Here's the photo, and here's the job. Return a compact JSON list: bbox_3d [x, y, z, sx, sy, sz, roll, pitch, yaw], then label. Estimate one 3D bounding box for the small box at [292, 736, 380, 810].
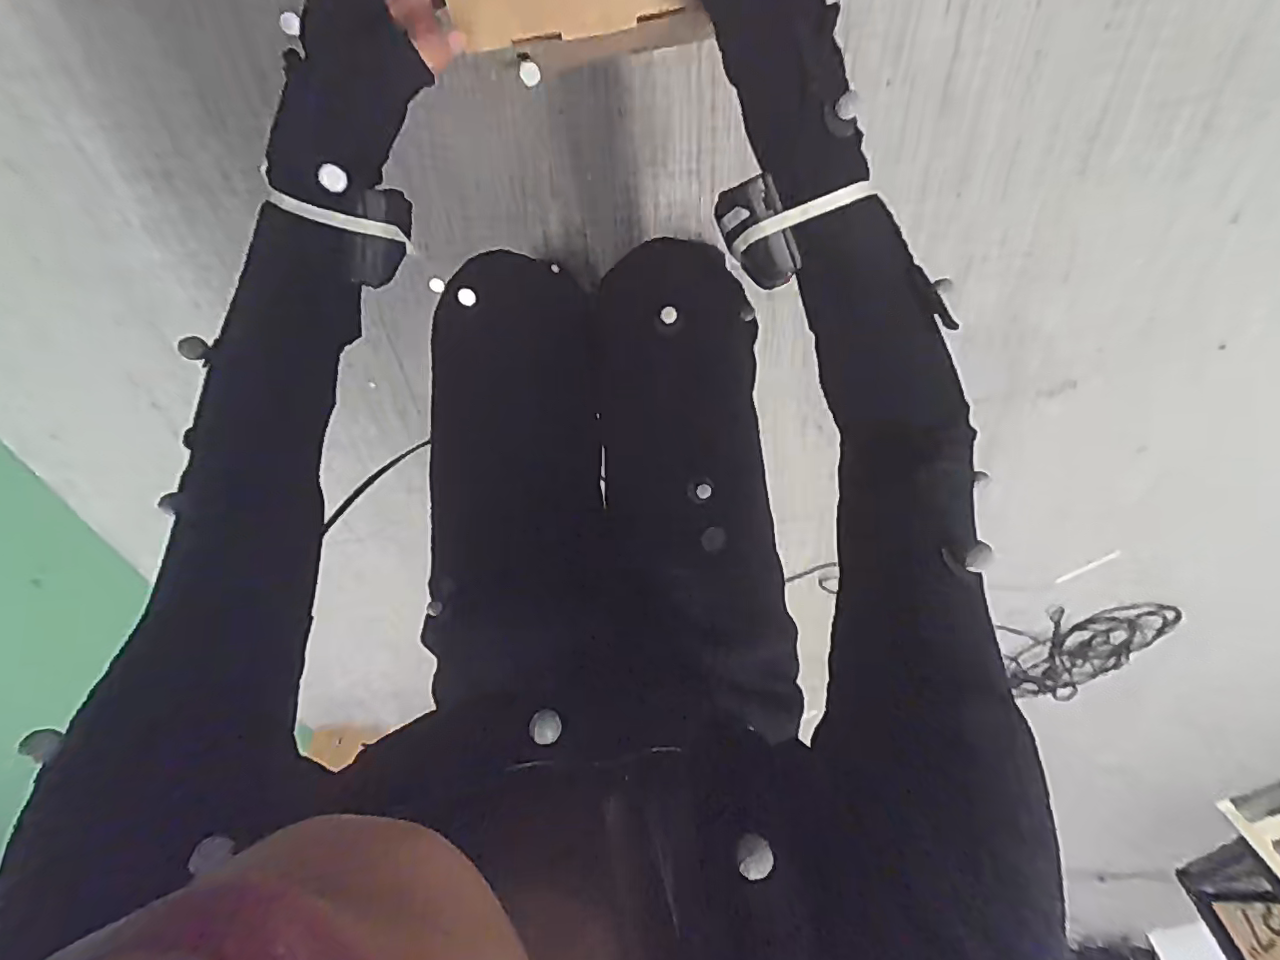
[{"bbox_3d":[-0.997,0.971,1.793,0.168,0.176,0.179,-3,129,3],"label":"small box"}]
